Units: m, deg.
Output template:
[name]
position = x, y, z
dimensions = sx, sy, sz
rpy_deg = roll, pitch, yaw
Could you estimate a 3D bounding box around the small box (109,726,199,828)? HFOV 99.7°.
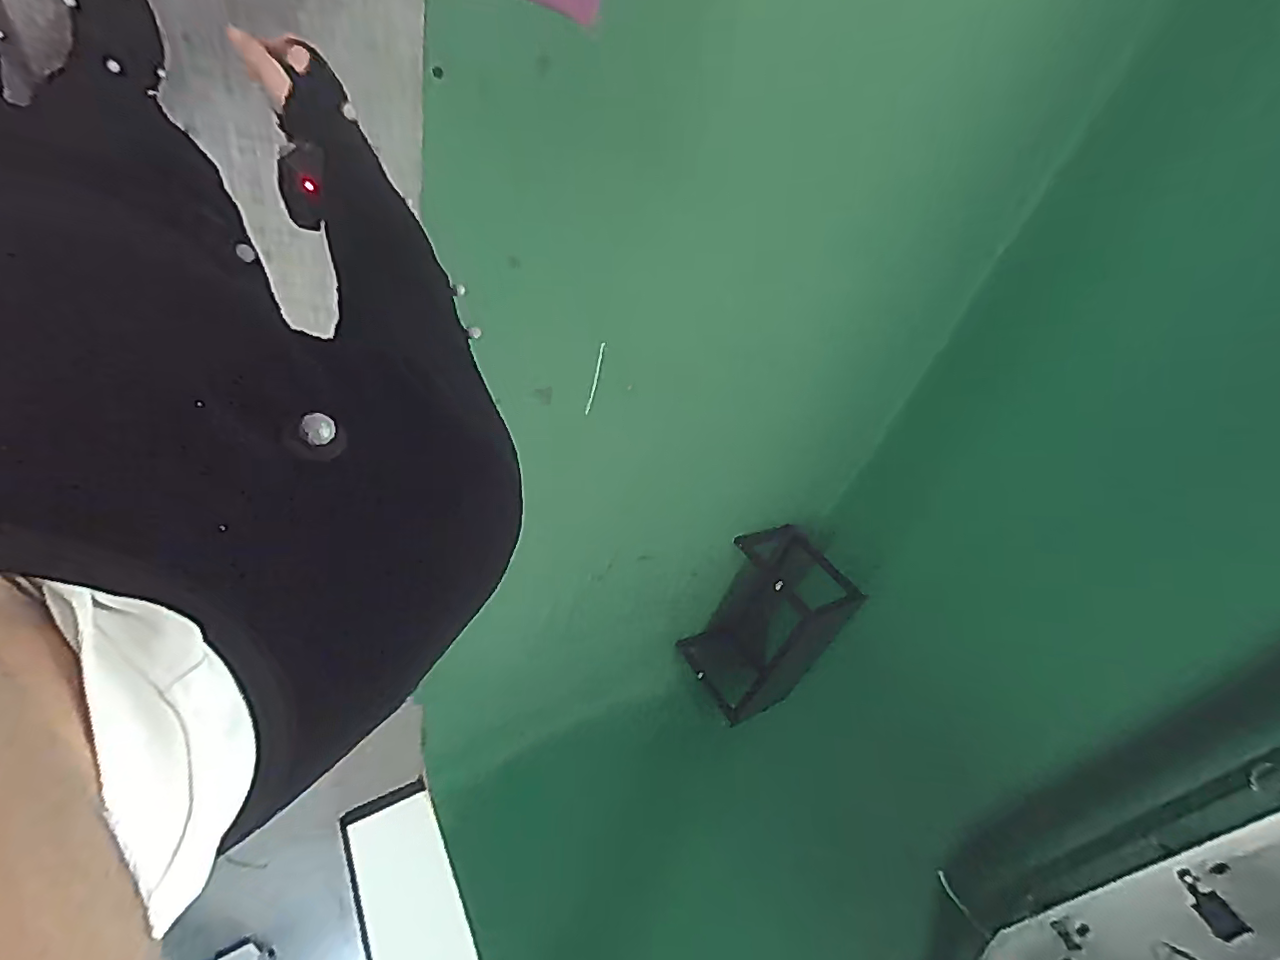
[small box]
position = -1.343, 0.811, 1.499
dimensions = 0.168, 0.176, 0.179
rpy_deg = -7, 134, -36
